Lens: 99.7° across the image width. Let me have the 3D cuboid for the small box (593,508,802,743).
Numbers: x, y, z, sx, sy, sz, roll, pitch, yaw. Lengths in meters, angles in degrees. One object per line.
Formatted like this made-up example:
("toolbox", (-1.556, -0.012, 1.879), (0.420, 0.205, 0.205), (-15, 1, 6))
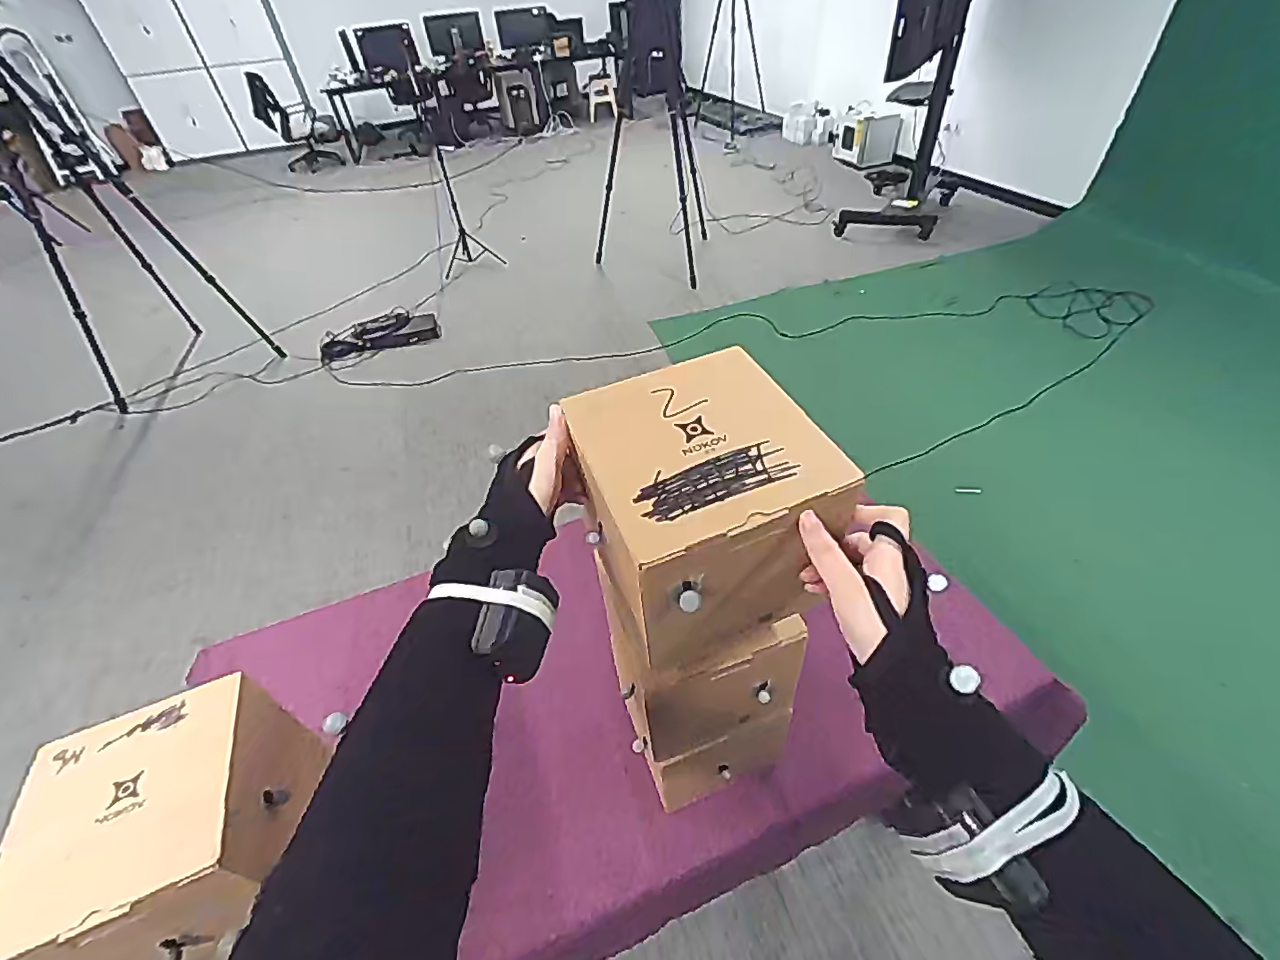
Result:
("small box", (0.059, 0.166, 0.601), (0.168, 0.176, 0.179), (-16, 44, -10))

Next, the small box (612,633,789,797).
("small box", (0.075, 0.287, 0.711), (0.168, 0.176, 0.179), (-18, 44, -11))

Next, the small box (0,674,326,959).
("small box", (-0.414, 0.323, 0.502), (0.168, 0.176, 0.179), (-20, 45, -15))
